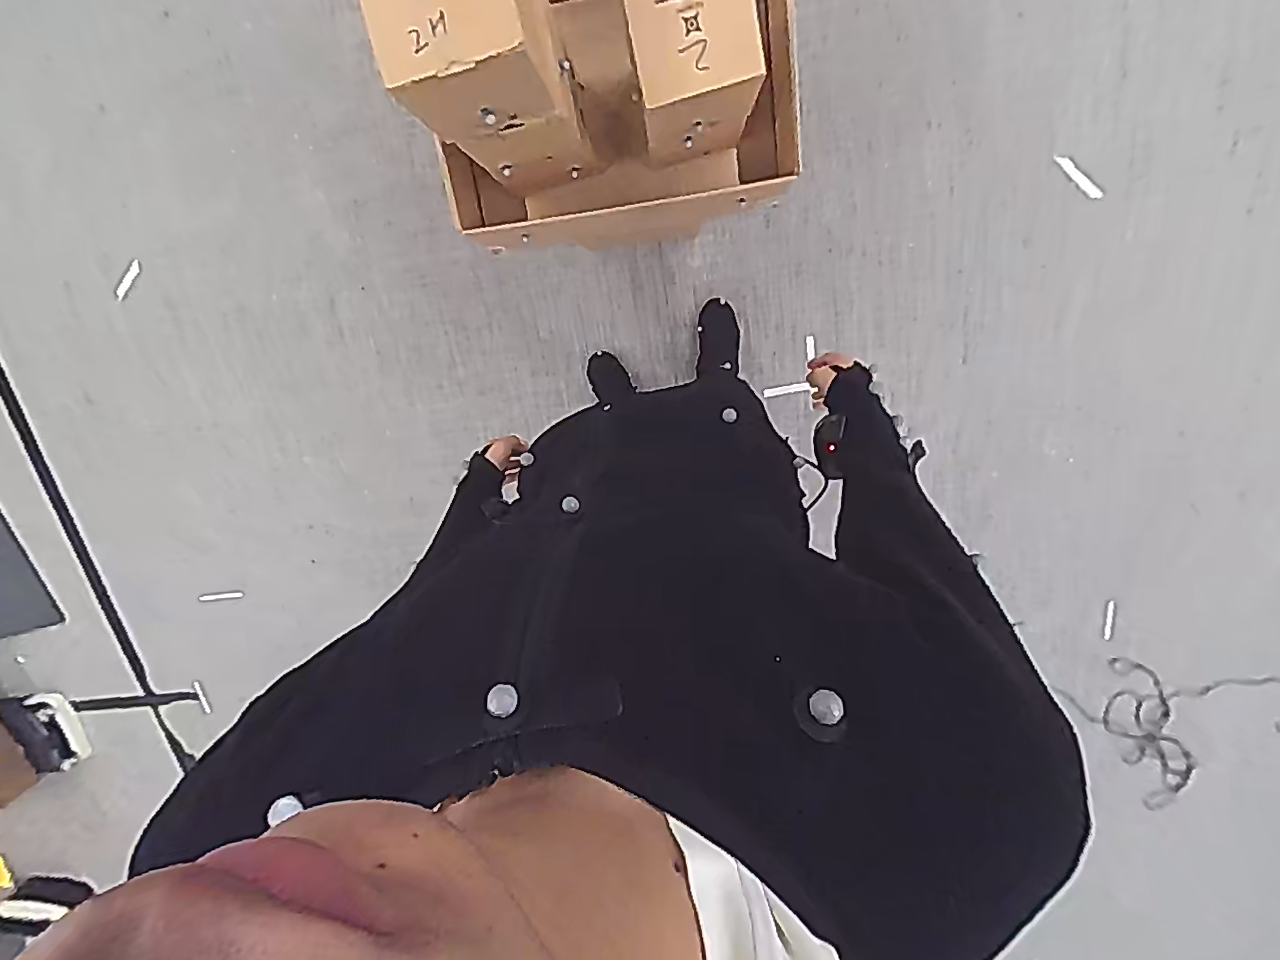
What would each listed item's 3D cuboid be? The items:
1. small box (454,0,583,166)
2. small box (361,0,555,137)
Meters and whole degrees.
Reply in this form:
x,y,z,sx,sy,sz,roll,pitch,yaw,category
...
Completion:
x,y,z,sx,sy,sz,roll,pitch,yaw,category
-0.190,-0.590,0.801,0.168,0.176,0.179,-10,104,6,small box
-0.214,-0.549,0.642,0.168,0.176,0.179,-12,104,7,small box
